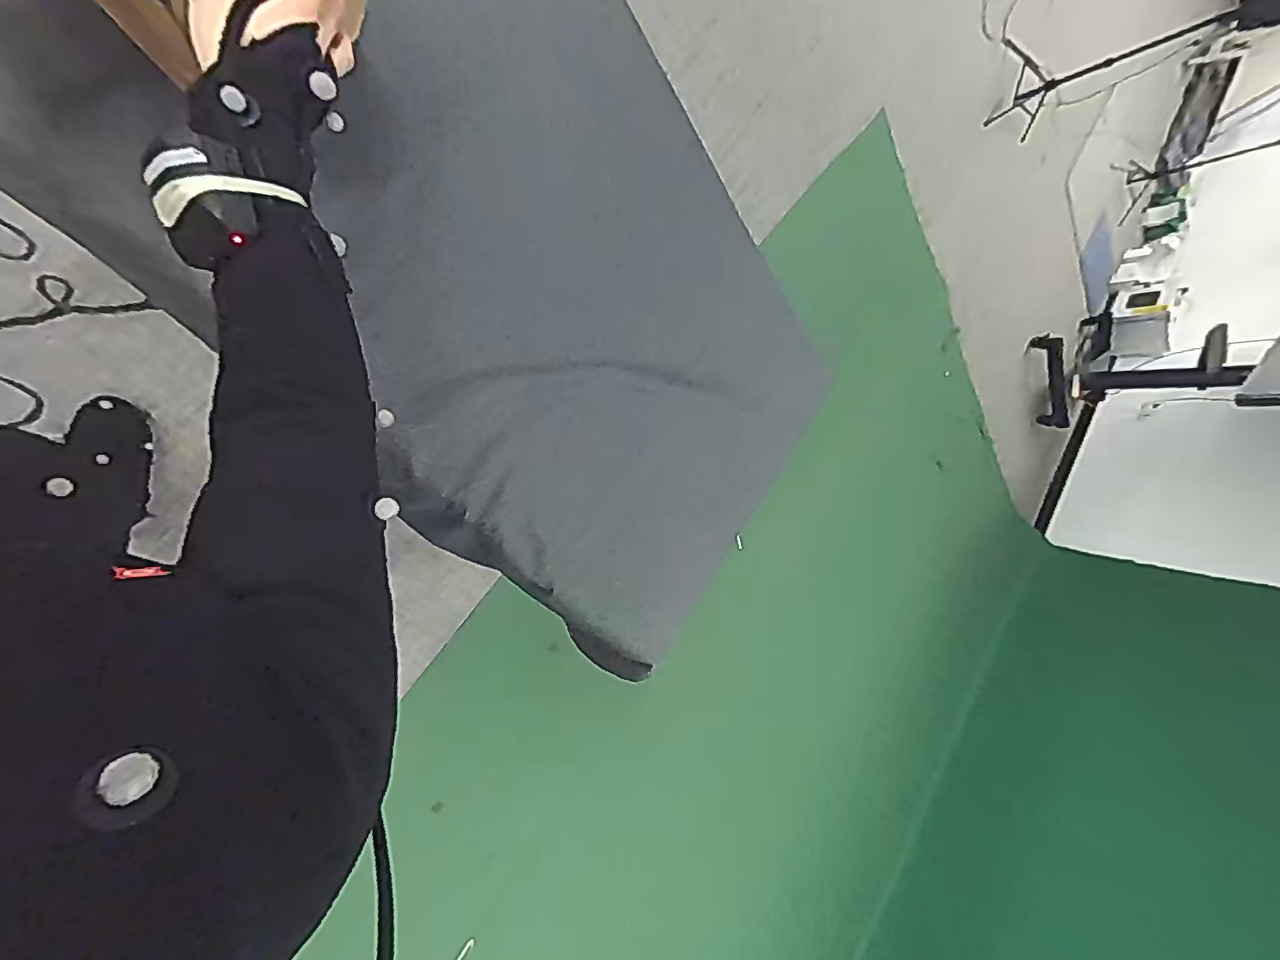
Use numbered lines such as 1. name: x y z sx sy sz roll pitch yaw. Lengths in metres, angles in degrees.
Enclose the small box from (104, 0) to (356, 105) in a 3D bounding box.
1. small box: -0.325 -0.424 0.386 0.168 0.176 0.179 -53 124 -19
